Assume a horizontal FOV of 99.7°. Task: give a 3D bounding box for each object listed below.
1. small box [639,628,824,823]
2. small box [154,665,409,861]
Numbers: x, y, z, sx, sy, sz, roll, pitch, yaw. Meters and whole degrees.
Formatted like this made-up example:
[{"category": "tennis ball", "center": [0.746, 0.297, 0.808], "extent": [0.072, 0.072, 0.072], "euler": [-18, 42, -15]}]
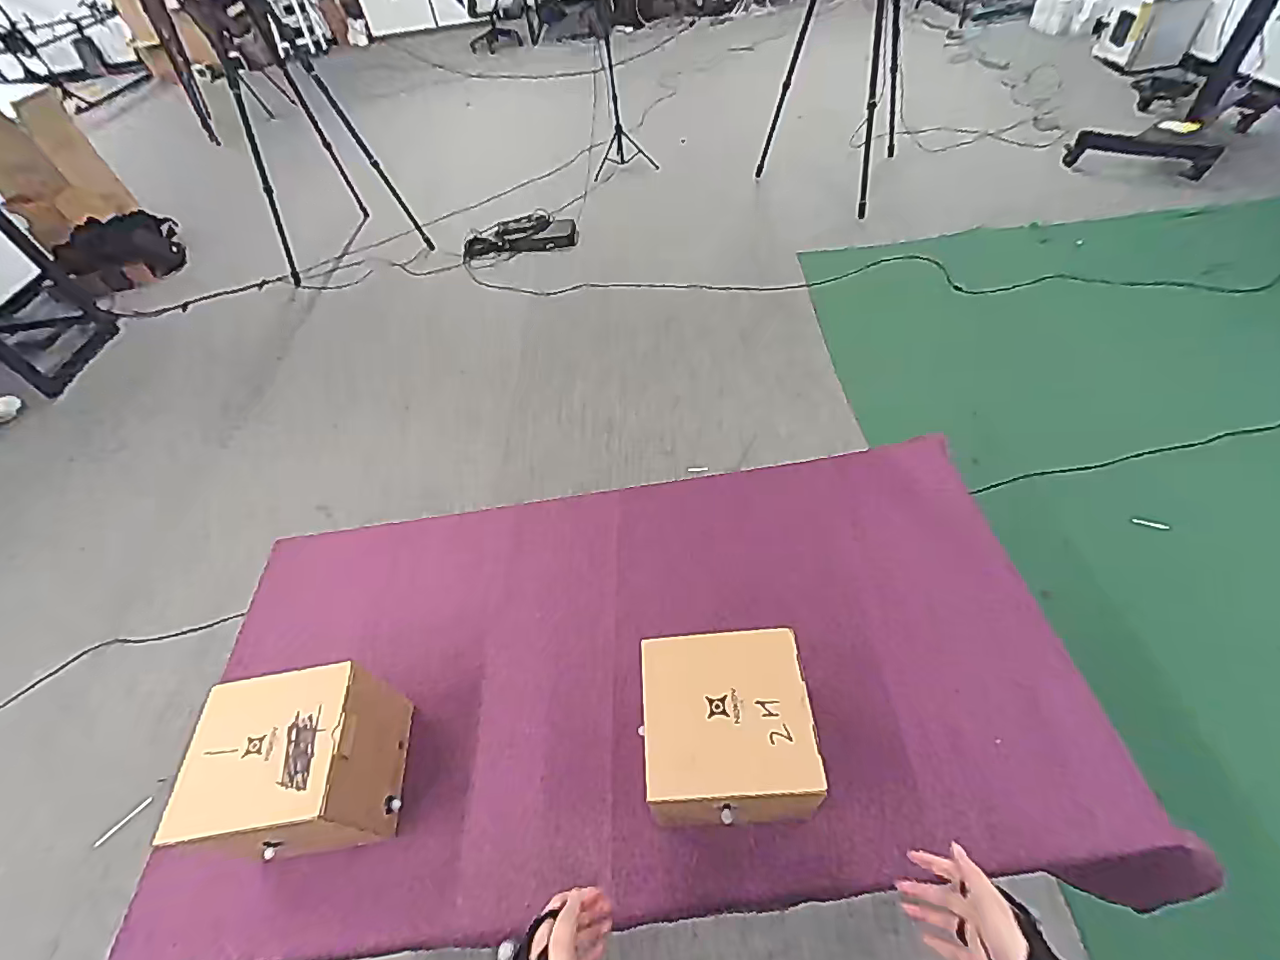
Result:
[{"category": "small box", "center": [0.098, 0.288, 0.625], "extent": [0.179, 0.176, 0.168], "euler": [-6, 51, 4]}, {"category": "small box", "center": [-0.406, 0.346, 0.655], "extent": [0.179, 0.176, 0.168], "euler": [-11, 50, 1]}]
